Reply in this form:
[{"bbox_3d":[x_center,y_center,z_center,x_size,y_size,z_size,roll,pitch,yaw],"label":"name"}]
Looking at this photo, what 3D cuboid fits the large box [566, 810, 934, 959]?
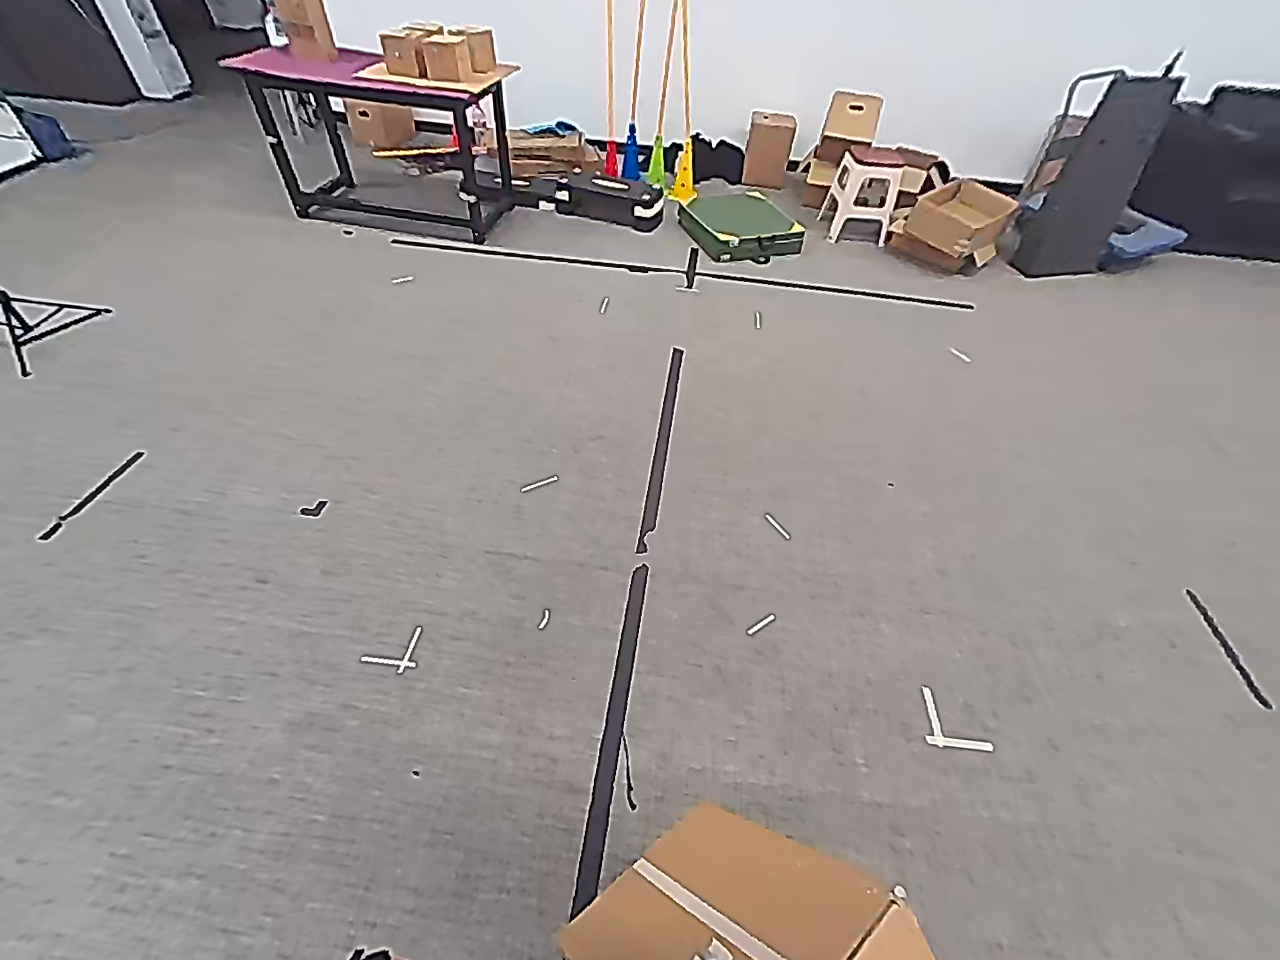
[{"bbox_3d":[0.158,0.719,0.705,0.320,0.408,0.320,-24,88,-31],"label":"large box"}]
